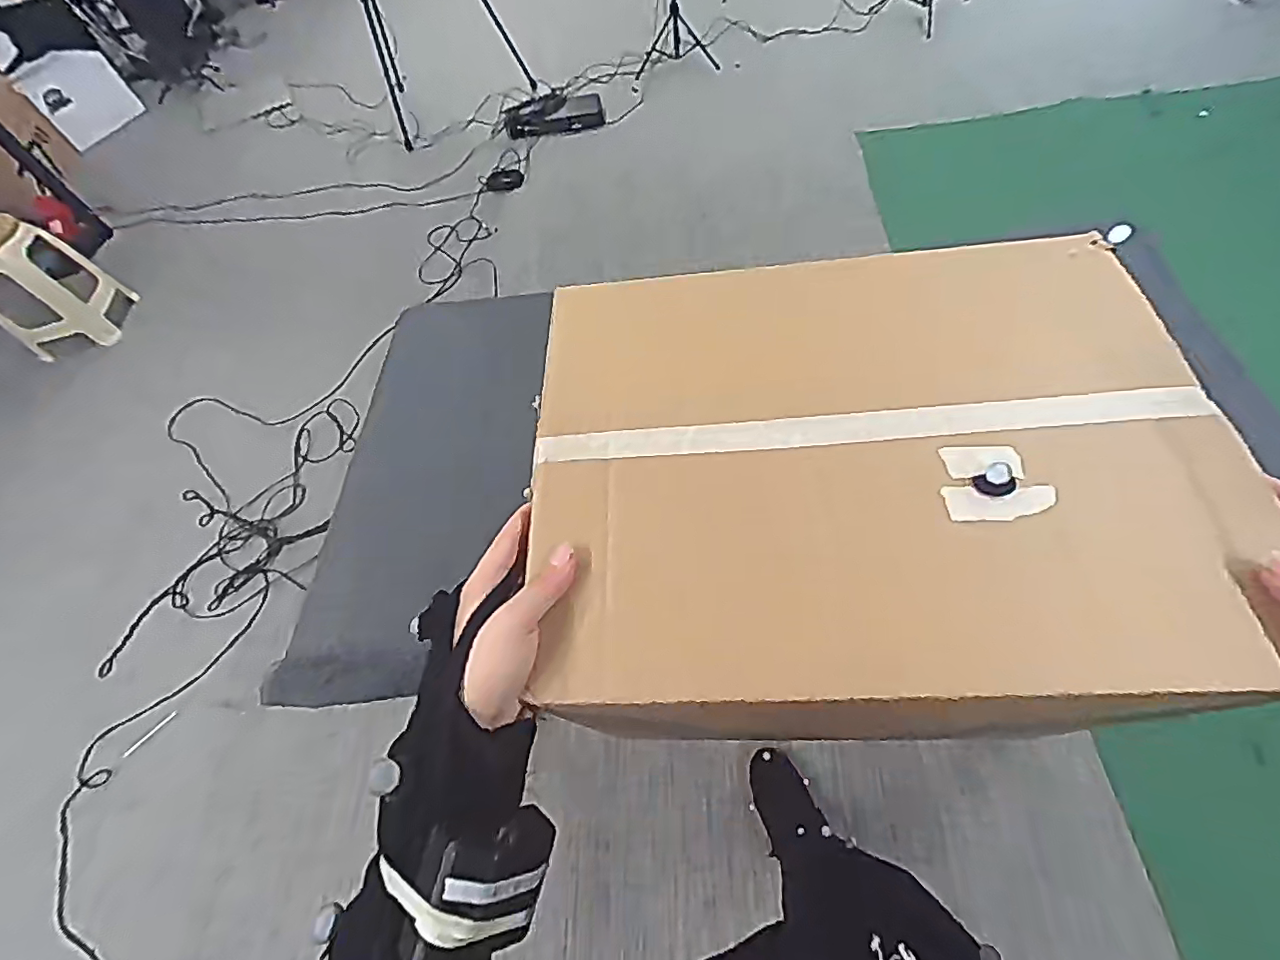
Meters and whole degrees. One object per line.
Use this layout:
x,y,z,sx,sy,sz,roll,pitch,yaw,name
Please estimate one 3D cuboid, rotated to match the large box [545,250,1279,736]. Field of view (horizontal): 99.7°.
0.154,0.042,0.484,0.408,0.320,0.320,-3,61,5,large box
